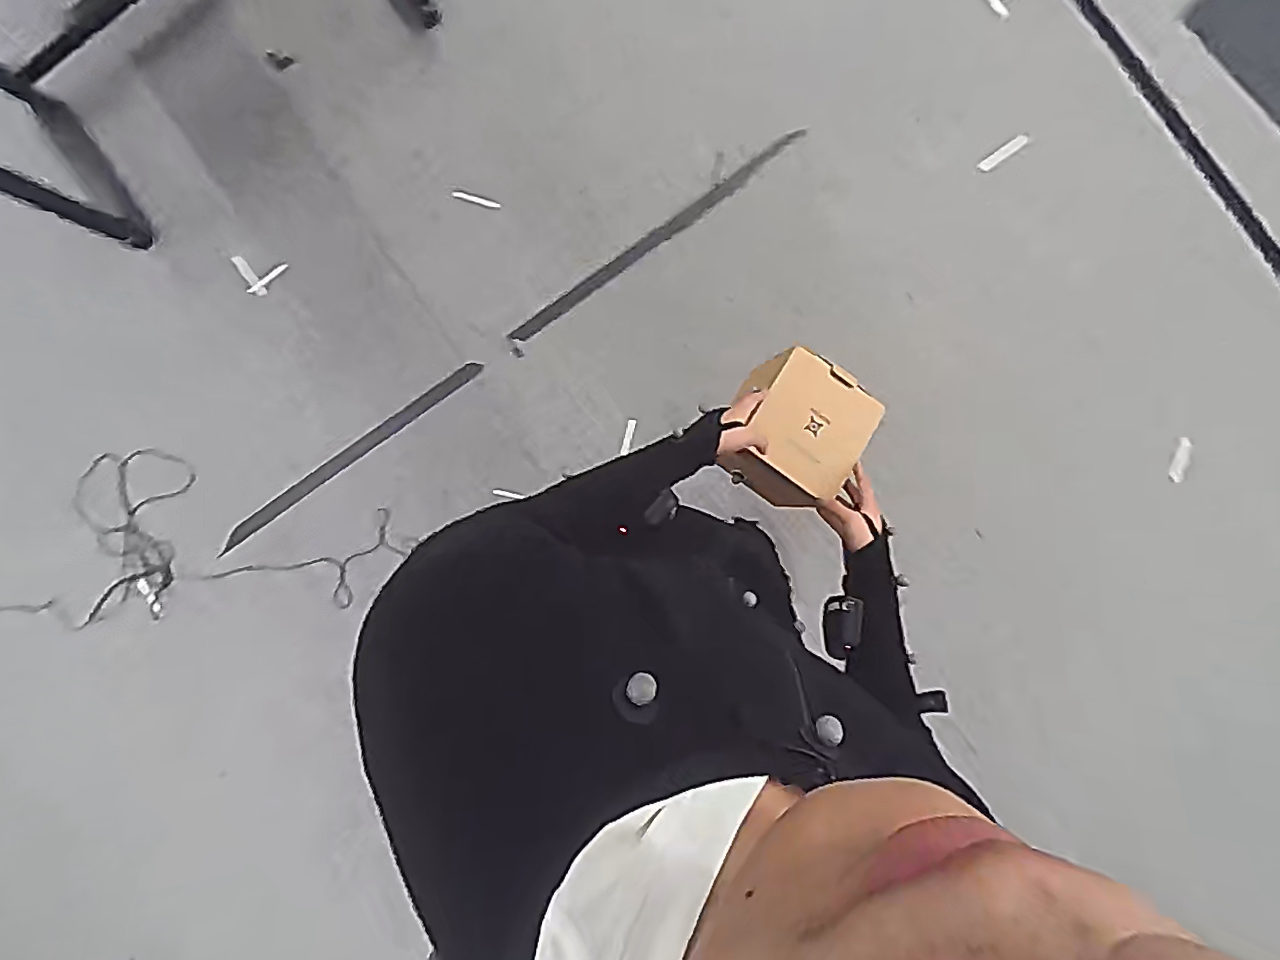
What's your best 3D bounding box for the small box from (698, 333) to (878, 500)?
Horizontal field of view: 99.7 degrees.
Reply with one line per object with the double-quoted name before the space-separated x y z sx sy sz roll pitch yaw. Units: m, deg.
"small box" 0.211 -0.085 0.818 0.168 0.176 0.179 34 80 -9
